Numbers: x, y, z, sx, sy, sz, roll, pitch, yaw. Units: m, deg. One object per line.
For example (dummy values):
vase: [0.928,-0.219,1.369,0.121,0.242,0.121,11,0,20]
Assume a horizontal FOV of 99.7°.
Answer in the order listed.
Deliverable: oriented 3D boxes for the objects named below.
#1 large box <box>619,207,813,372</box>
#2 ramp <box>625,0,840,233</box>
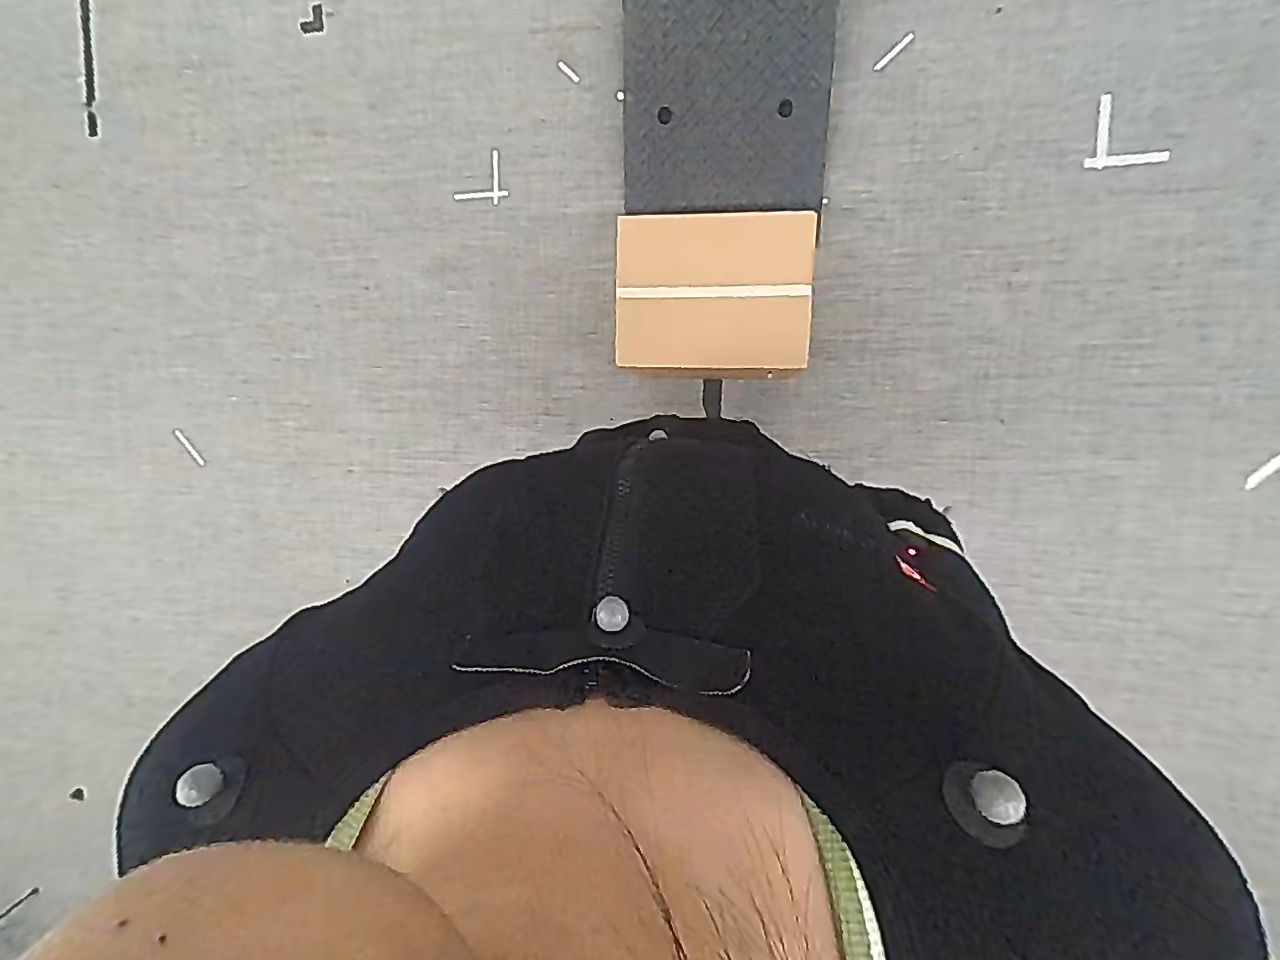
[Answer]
large box: [0.175,-0.420,1.276,0.408,0.320,0.320,2,97,8]
ramp: [0.207,-1.098,1.237,0.509,0.206,0.991,0,98,7]
